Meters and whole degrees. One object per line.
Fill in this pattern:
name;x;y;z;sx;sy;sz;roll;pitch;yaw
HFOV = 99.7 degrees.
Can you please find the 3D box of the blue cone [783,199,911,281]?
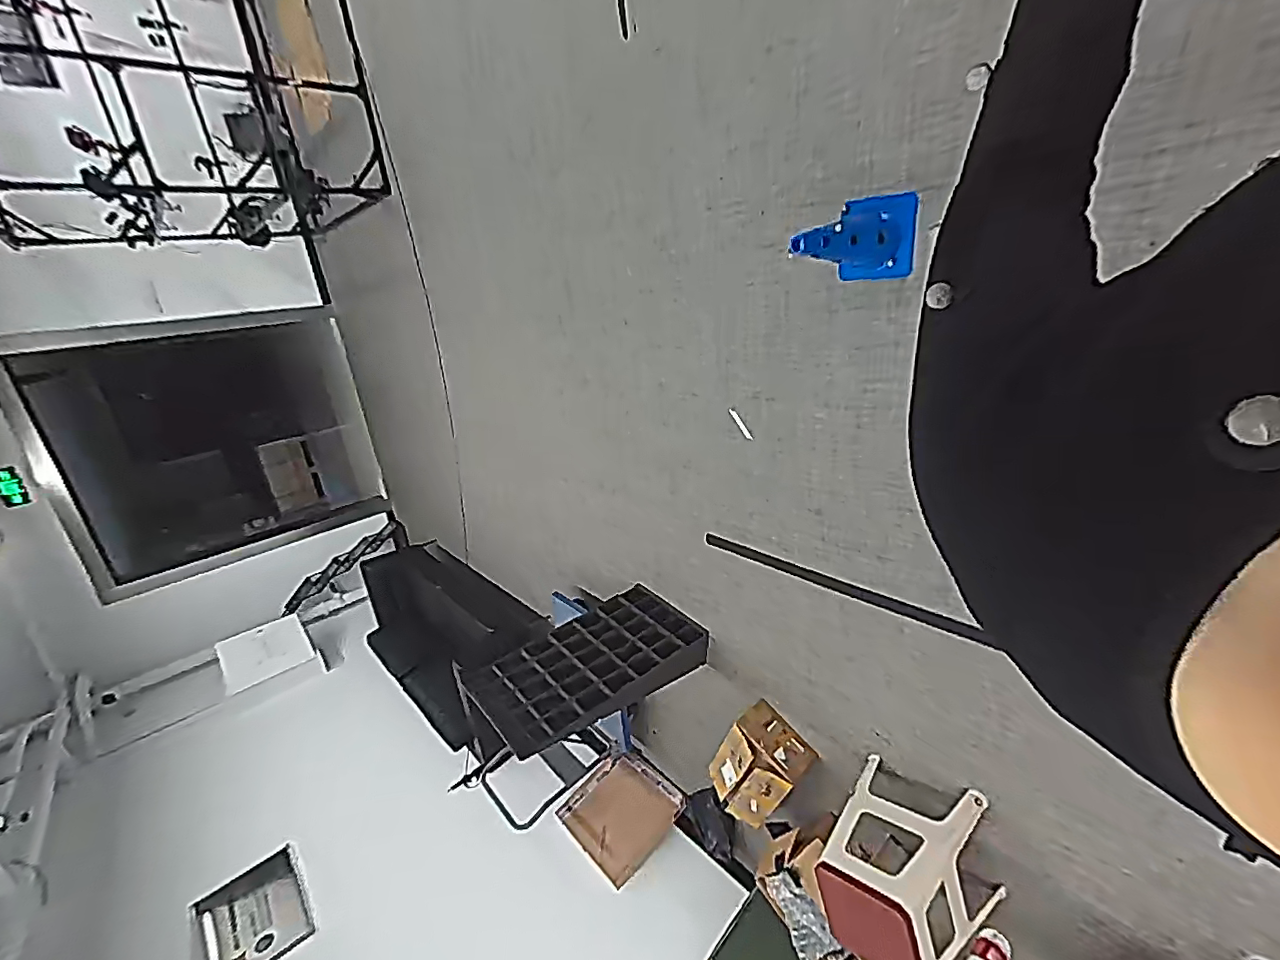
blue cone;0.485;-0.578;1.321;0.192;0.380;0.193;21;123;46
